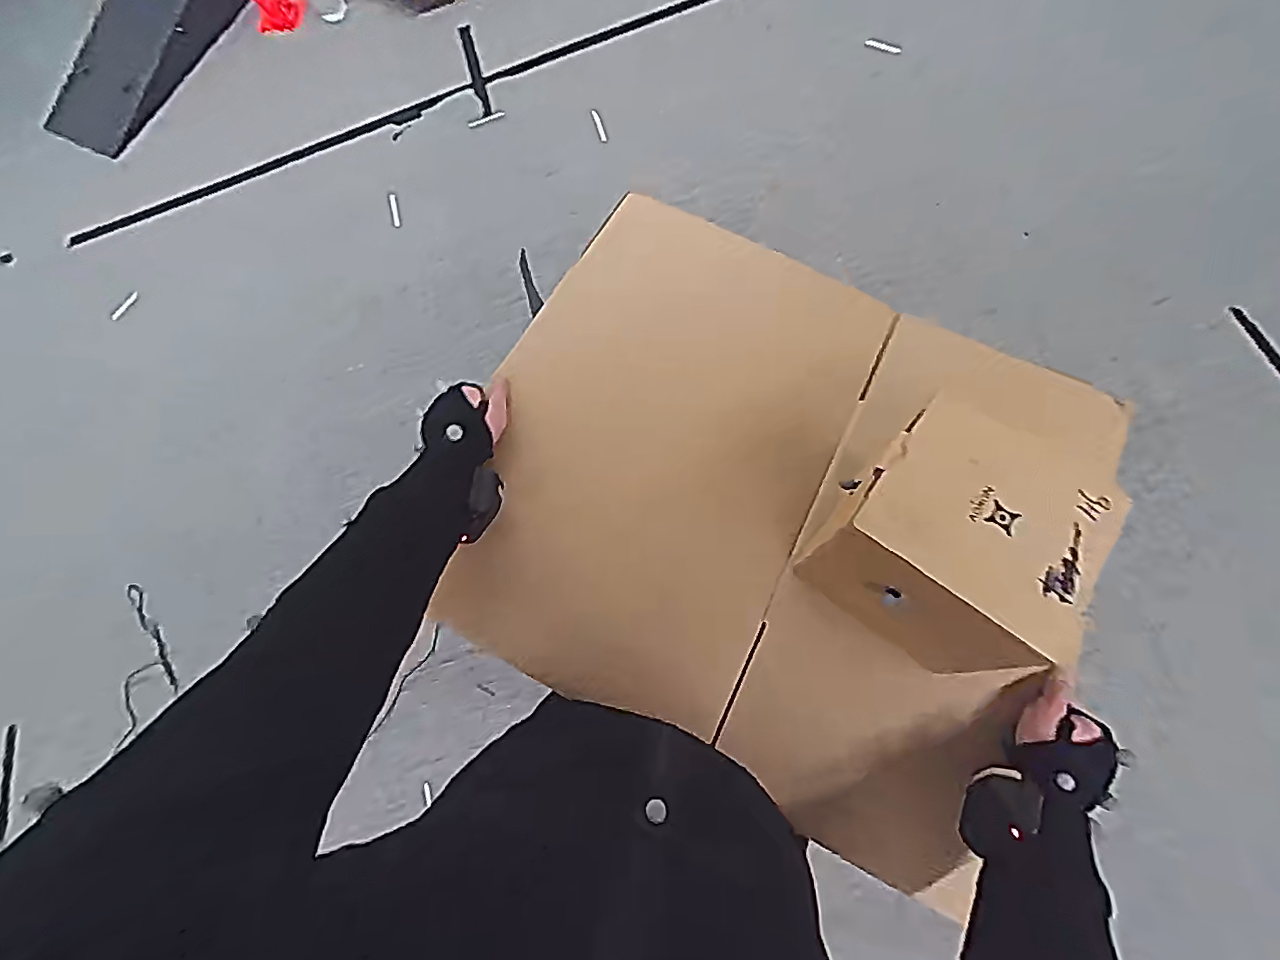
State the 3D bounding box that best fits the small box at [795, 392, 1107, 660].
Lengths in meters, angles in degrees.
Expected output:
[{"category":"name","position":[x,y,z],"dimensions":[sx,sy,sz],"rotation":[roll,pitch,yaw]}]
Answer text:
[{"category":"small box","position":[0.276,0.055,0.522],"dimensions":[0.179,0.176,0.168],"rotation":[34,72,14]}]
